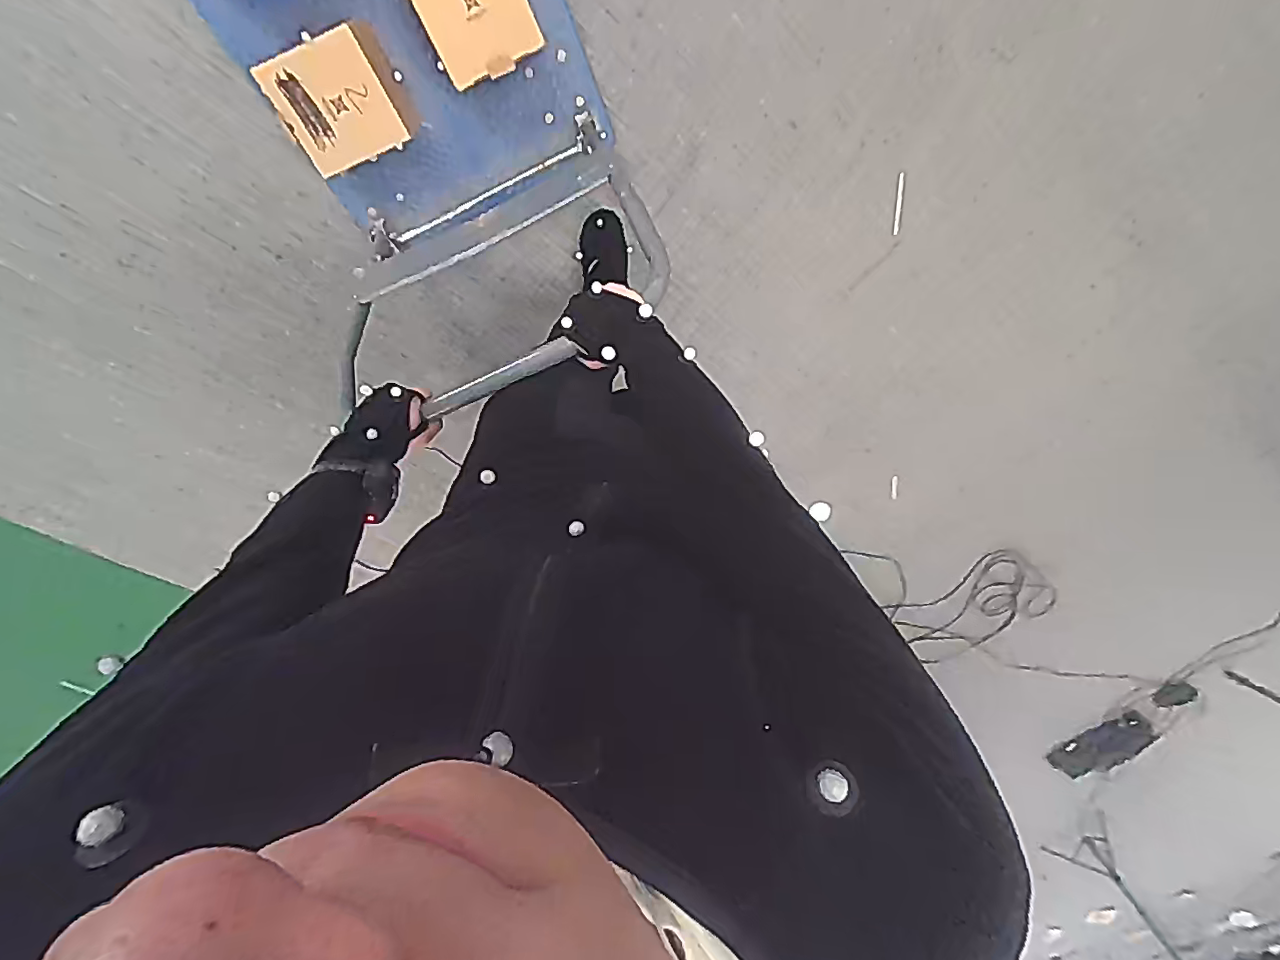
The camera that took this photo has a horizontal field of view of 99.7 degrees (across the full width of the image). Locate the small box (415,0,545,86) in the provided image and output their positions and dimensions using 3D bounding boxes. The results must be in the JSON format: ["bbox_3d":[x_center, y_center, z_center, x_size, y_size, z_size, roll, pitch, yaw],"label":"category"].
[{"bbox_3d":[-0.273,-0.791,0.891,0.168,0.176,0.179,-23,133,7],"label":"small box"}]
